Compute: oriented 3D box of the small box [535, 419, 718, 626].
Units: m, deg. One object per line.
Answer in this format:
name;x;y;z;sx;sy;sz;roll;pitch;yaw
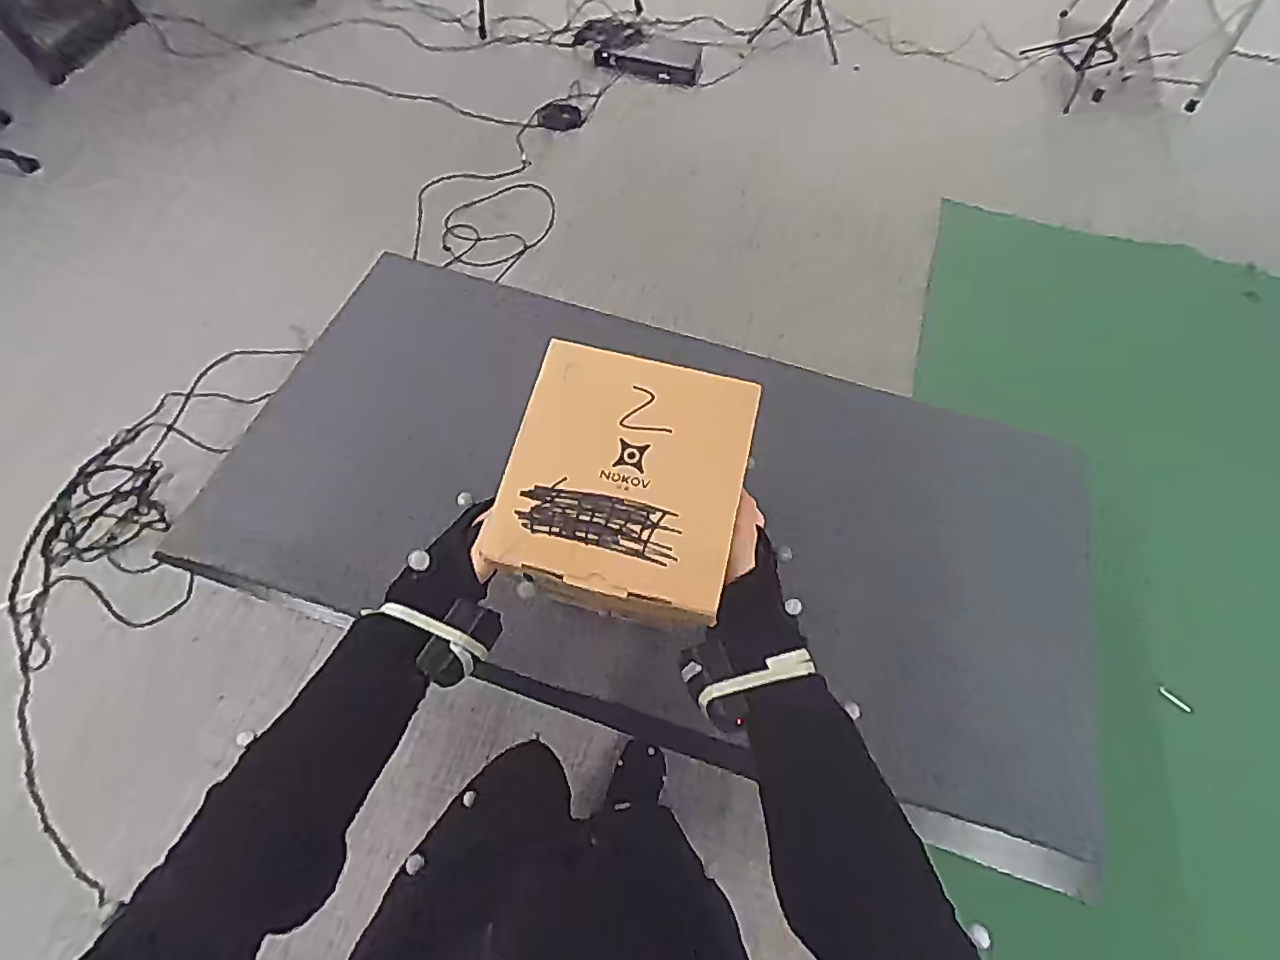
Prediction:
small box;-0.013;0.057;0.657;0.168;0.176;0.179;14;63;5
